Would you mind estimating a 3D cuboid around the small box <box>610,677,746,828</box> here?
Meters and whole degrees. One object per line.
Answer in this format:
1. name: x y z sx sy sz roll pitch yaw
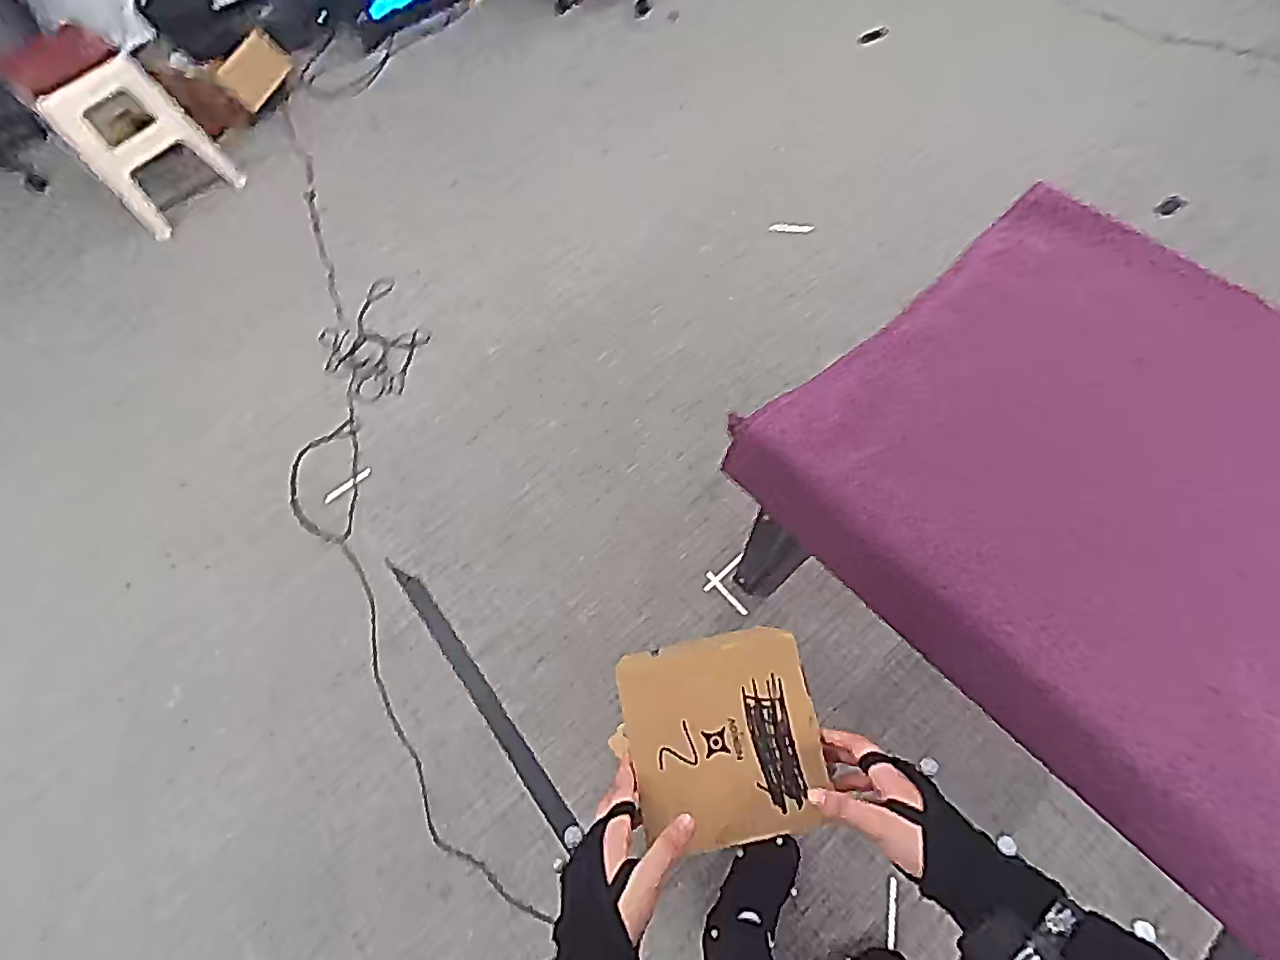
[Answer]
1. small box: 0.066 0.487 0.987 0.179 0.176 0.168 -38 68 -12
